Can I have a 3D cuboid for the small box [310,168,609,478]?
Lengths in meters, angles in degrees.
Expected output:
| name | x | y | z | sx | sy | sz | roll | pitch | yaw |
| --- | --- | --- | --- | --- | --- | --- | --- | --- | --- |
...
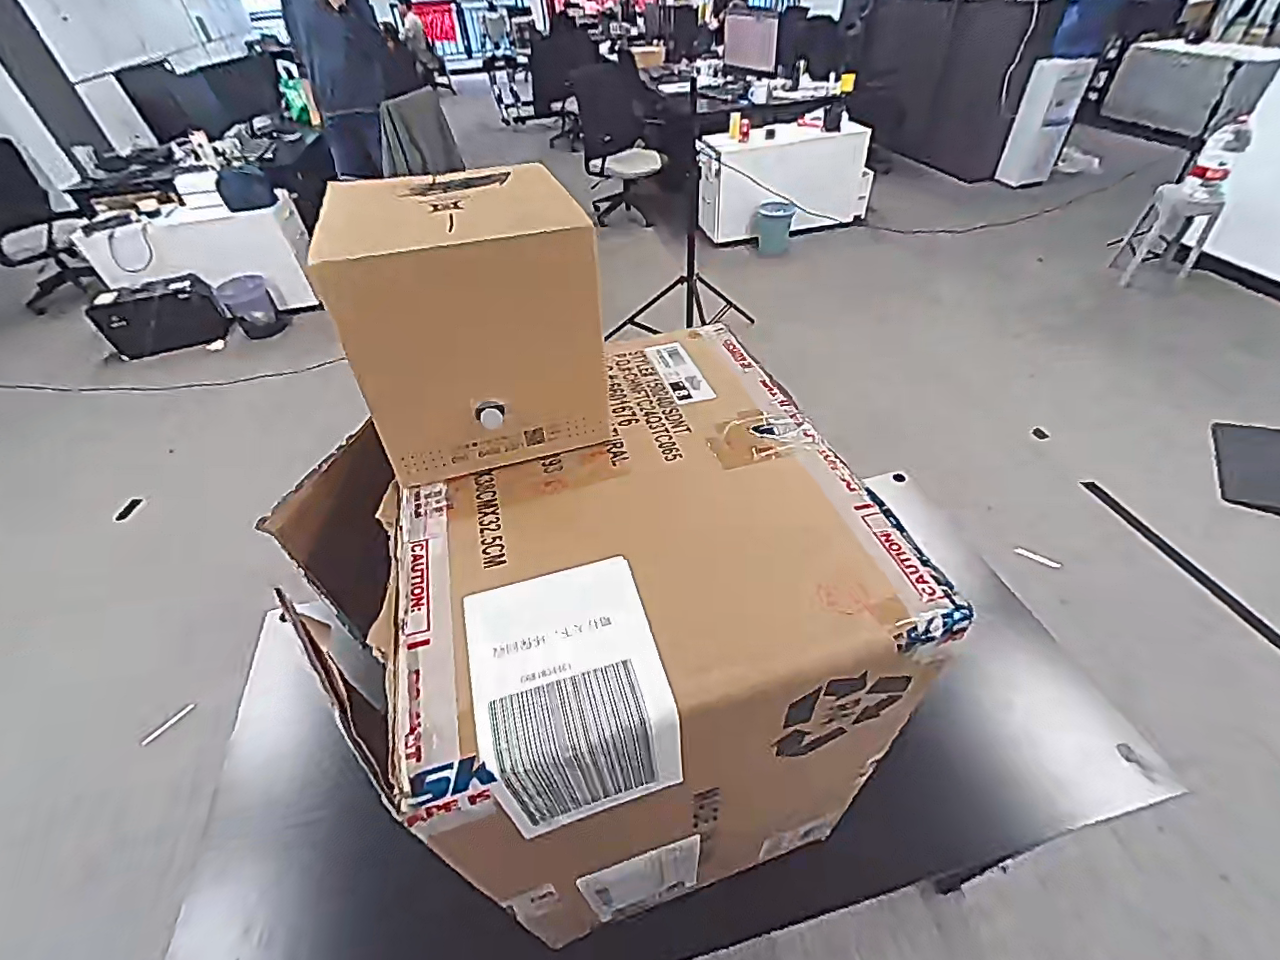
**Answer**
| name | x | y | z | sx | sy | sz | roll | pitch | yaw |
| --- | --- | --- | --- | --- | --- | --- | --- | --- | --- |
| small box | -0.128 | -0.128 | 0.426 | 0.168 | 0.176 | 0.179 | -14 | 43 | -13 |
